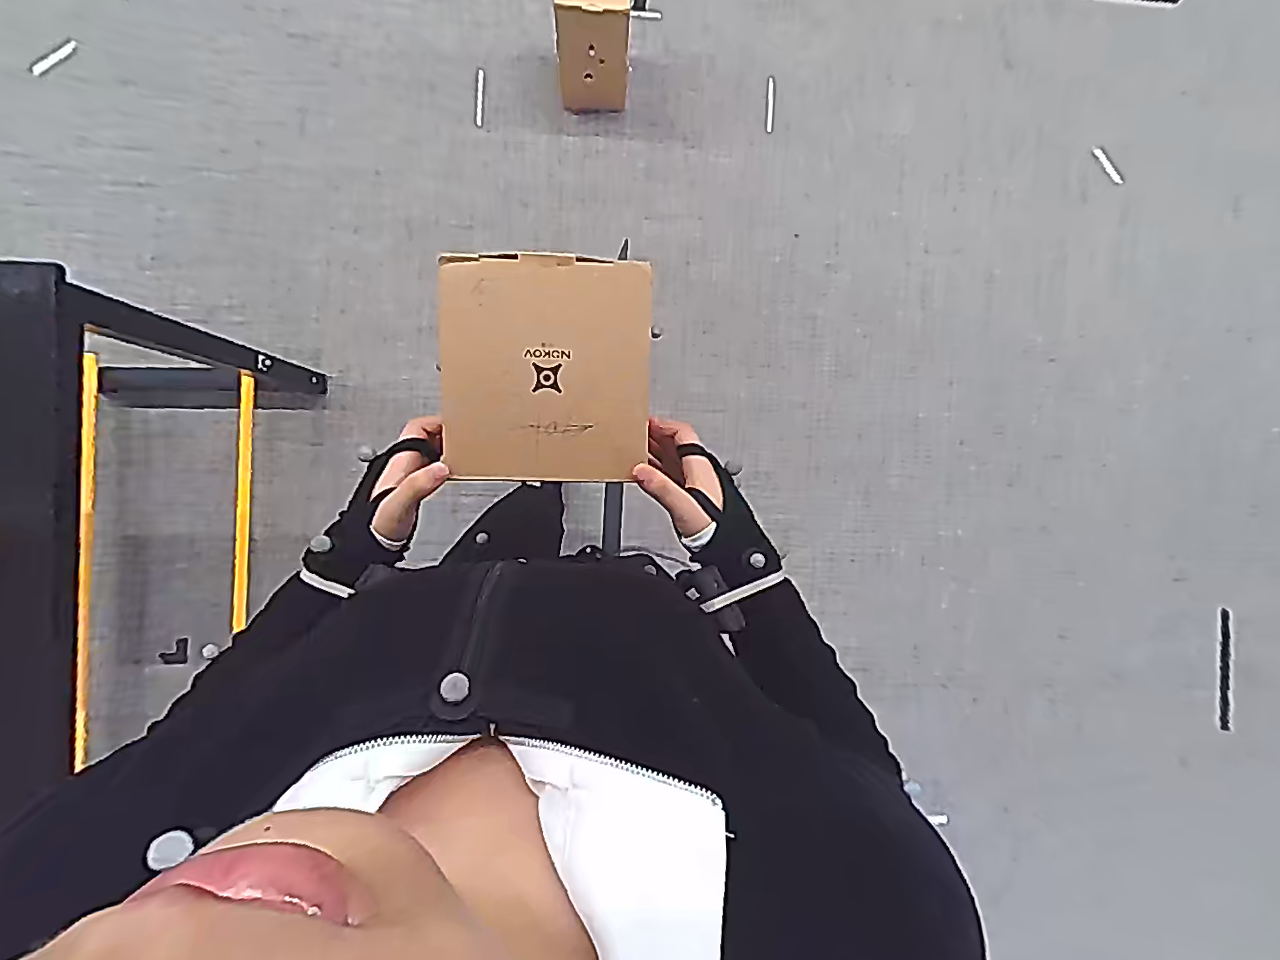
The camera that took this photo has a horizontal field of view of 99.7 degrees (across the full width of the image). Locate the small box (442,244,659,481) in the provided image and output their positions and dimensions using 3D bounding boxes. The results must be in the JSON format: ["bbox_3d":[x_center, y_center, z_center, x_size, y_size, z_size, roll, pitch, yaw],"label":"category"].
[{"bbox_3d":[-0.076,-0.099,0.499,0.168,0.176,0.179,2,98,-4],"label":"small box"}]

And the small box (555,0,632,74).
[{"bbox_3d":[-0.102,-1.084,1.235,0.168,0.176,0.179,2,90,-4],"label":"small box"}]

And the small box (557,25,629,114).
[{"bbox_3d":[-0.120,-1.084,1.399,0.179,0.176,0.168,-1,90,-5],"label":"small box"}]
